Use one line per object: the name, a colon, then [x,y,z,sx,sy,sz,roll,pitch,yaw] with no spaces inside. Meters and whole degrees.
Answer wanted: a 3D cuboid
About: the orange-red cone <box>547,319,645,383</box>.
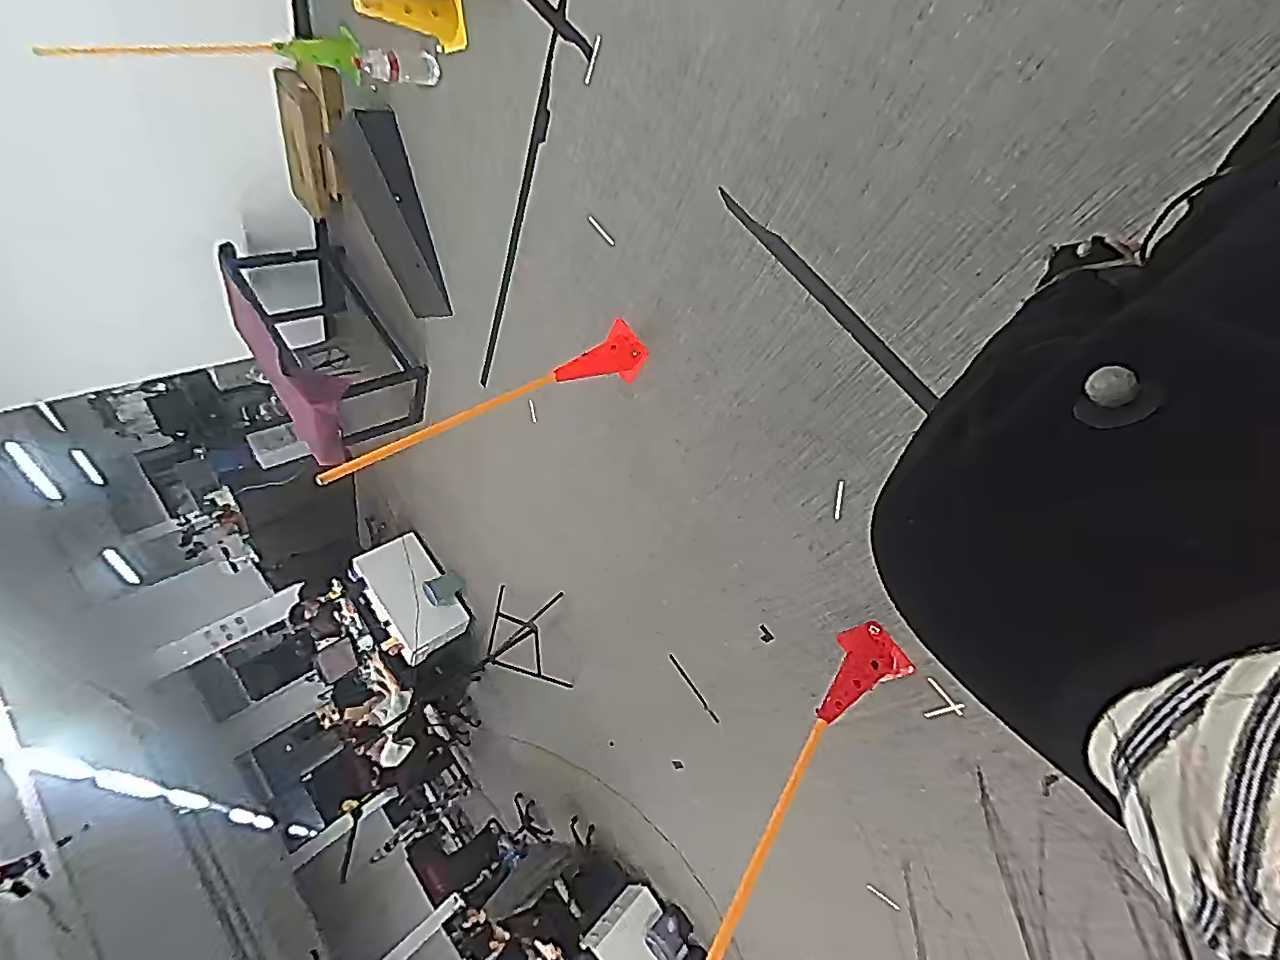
orange-red cone: [-0.191,-0.436,2.008,0.199,0.360,0.198,54,142,10]
